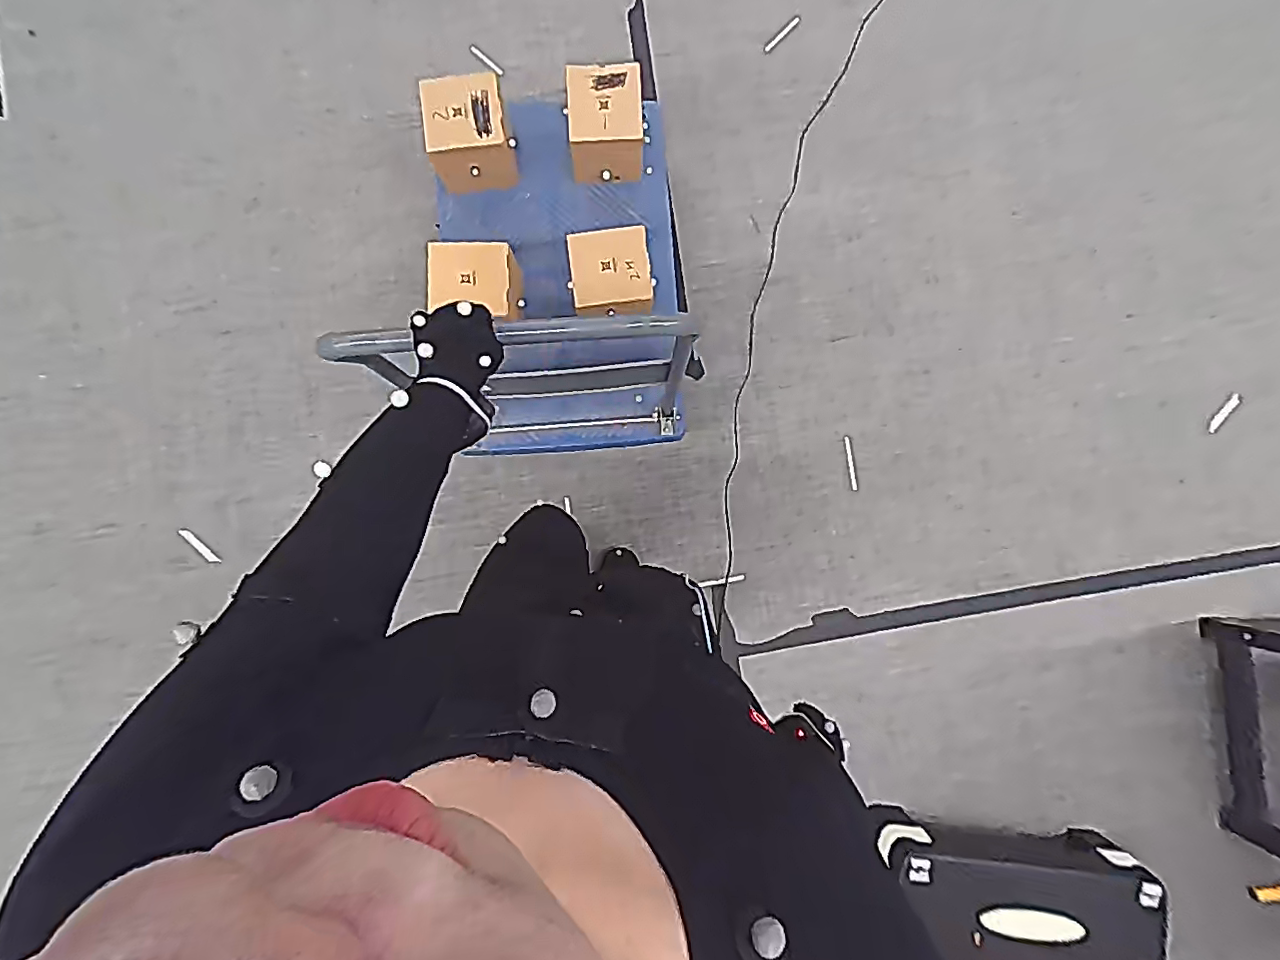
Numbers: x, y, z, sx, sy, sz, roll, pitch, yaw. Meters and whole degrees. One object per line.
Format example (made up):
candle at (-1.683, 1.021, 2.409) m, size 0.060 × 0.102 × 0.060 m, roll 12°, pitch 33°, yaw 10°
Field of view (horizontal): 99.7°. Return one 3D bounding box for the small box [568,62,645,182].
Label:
small box at (-0.077, -0.834, 1.271) m, size 0.168 × 0.176 × 0.179 m, roll -3°, pitch 89°, yaw -1°

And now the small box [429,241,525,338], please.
small box at (-0.371, -0.434, 1.253) m, size 0.179 × 0.176 × 0.168 m, roll -1°, pitch 87°, yaw -2°

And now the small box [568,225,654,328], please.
small box at (-0.063, -0.464, 1.256) m, size 0.179 × 0.176 × 0.168 m, roll -7°, pitch 88°, yaw -1°
